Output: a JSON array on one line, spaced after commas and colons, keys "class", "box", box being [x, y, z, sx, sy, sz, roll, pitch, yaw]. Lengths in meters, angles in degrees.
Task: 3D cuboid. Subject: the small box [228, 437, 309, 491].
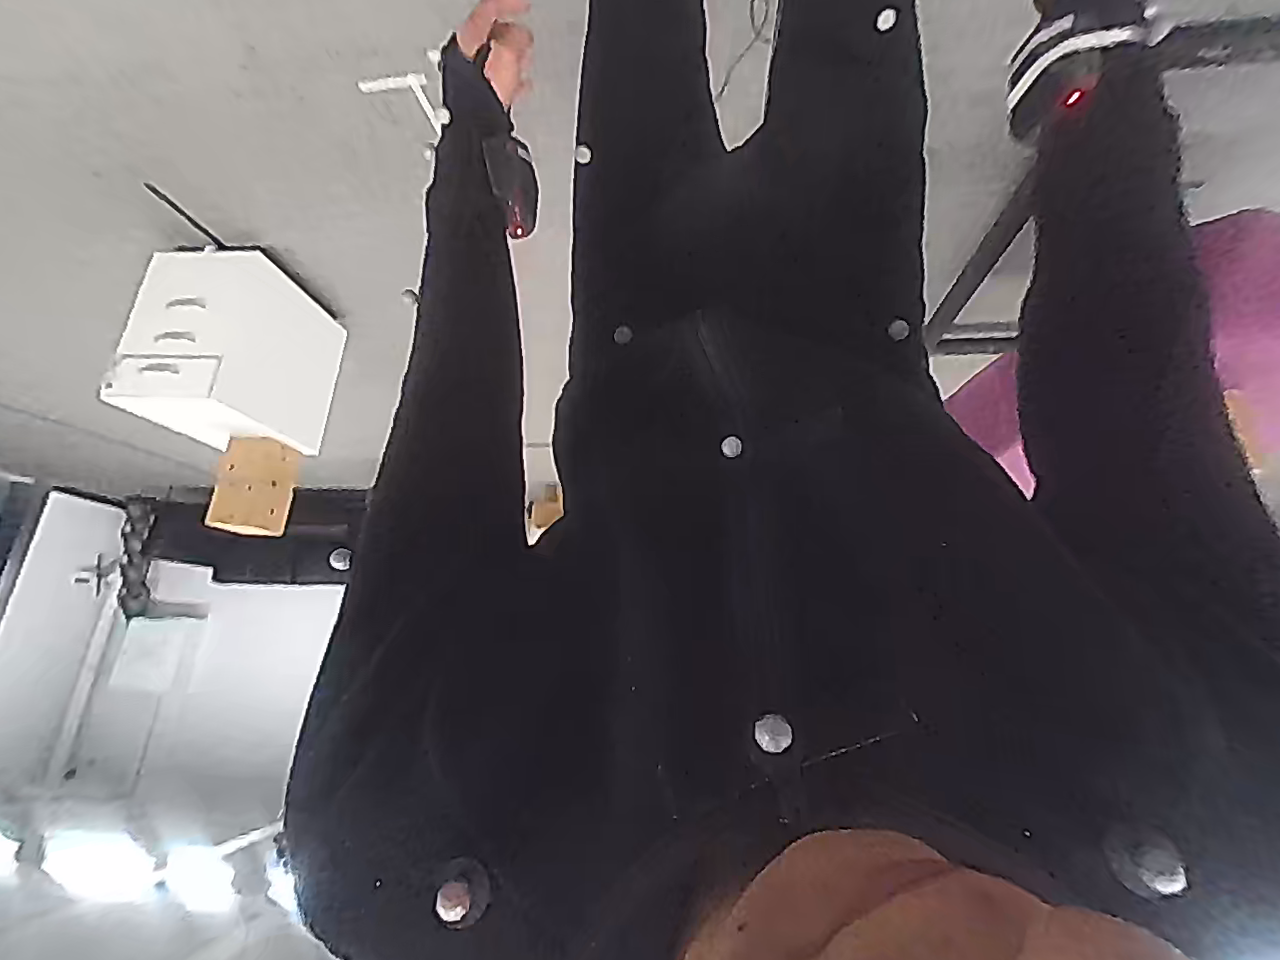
[{"class": "small box", "box": [-1.408, -0.062, 2.063, 0.179, 0.176, 0.168, 2, 164, 8]}]

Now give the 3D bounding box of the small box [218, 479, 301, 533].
[{"class": "small box", "box": [-1.413, 0.097, 2.017, 0.168, 0.176, 0.179, 2, 164, 7]}]
